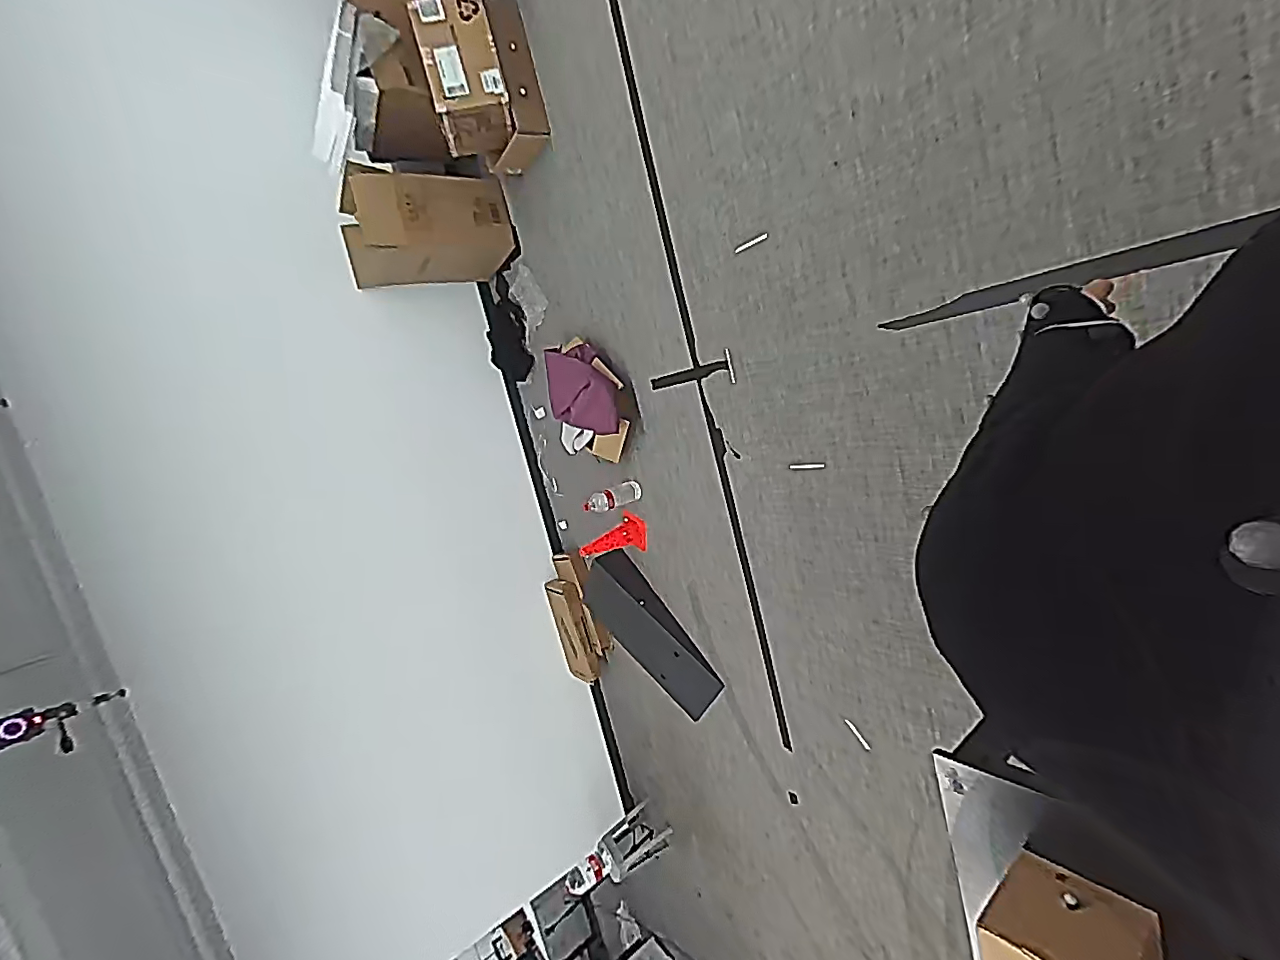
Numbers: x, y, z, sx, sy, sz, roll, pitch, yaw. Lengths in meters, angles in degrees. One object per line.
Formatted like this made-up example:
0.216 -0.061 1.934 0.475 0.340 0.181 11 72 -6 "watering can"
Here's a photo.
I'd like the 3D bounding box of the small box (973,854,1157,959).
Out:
0.612 0.701 0.774 0.168 0.176 0.179 0 106 55 "small box"
